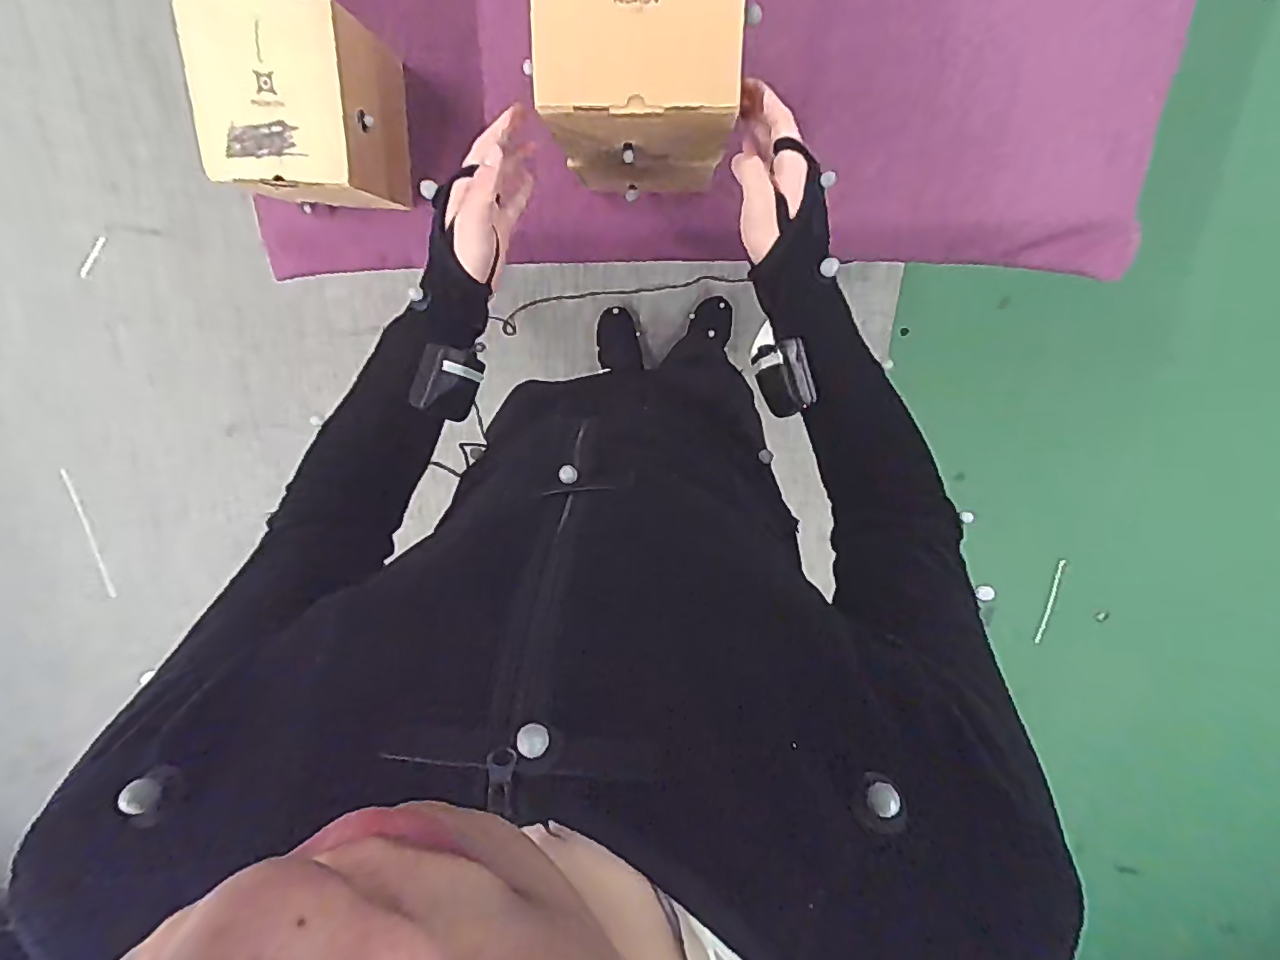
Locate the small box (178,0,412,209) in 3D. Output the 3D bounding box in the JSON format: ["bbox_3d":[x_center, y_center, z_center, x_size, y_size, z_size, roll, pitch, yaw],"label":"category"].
[{"bbox_3d":[-0.391,-0.435,0.650,0.168,0.176,0.179,3,108,0],"label":"small box"}]

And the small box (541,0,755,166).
[{"bbox_3d":[0.007,-0.399,0.483,0.168,0.176,0.179,1,110,2],"label":"small box"}]

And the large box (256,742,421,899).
[{"bbox_3d":[-1.098,1.245,1.997,0.408,0.320,0.320,23,110,-8],"label":"large box"}]

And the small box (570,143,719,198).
[{"bbox_3d":[0.009,-0.446,0.638,0.168,0.176,0.179,2,110,2],"label":"small box"}]
